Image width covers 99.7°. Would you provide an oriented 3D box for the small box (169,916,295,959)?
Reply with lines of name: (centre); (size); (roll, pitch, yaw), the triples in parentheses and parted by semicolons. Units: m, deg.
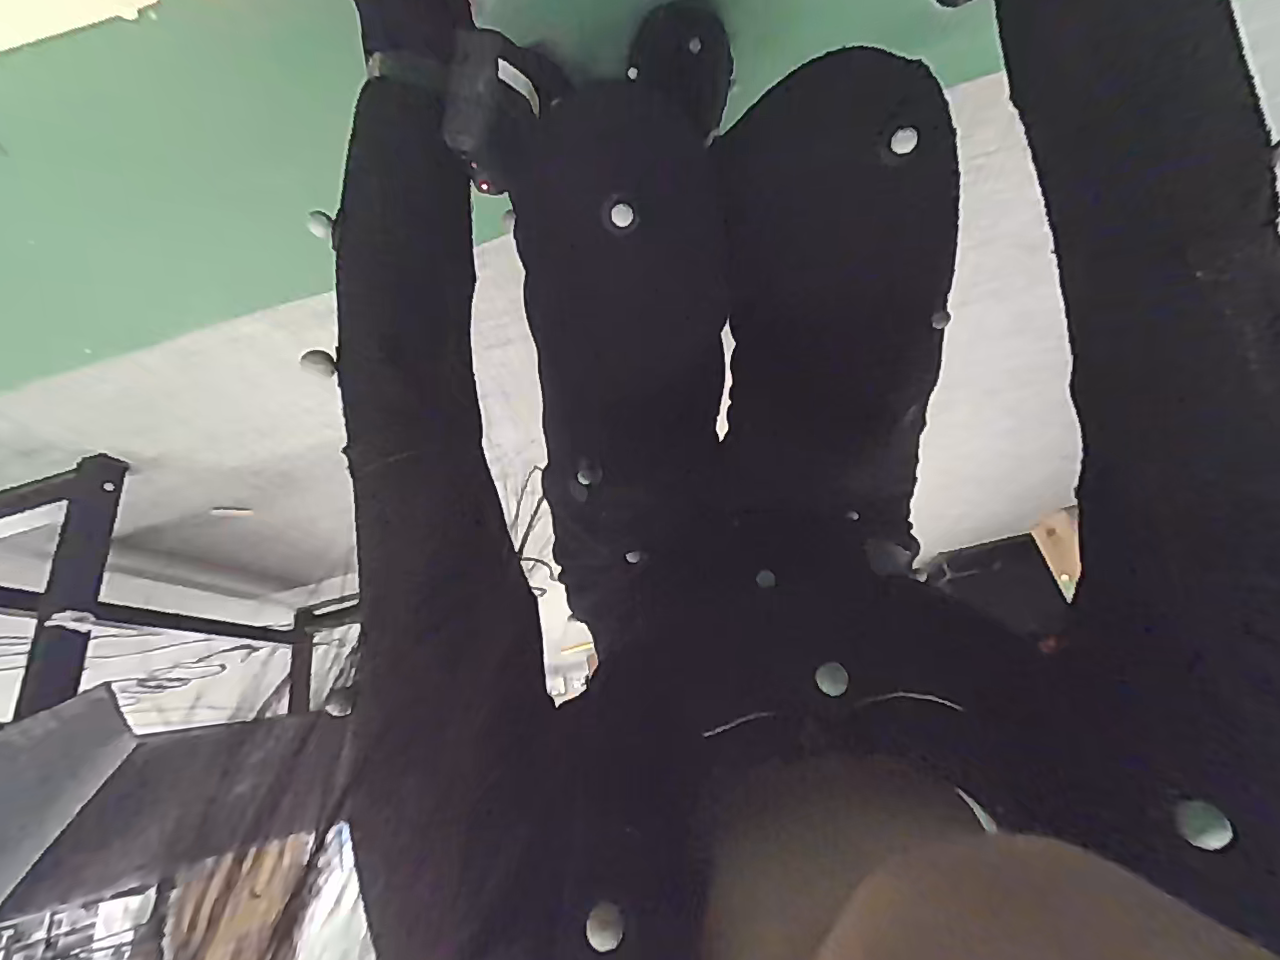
small box: (-0.880, 1.076, 1.158); (0.168, 0.176, 0.179); (-15, 155, 7)
